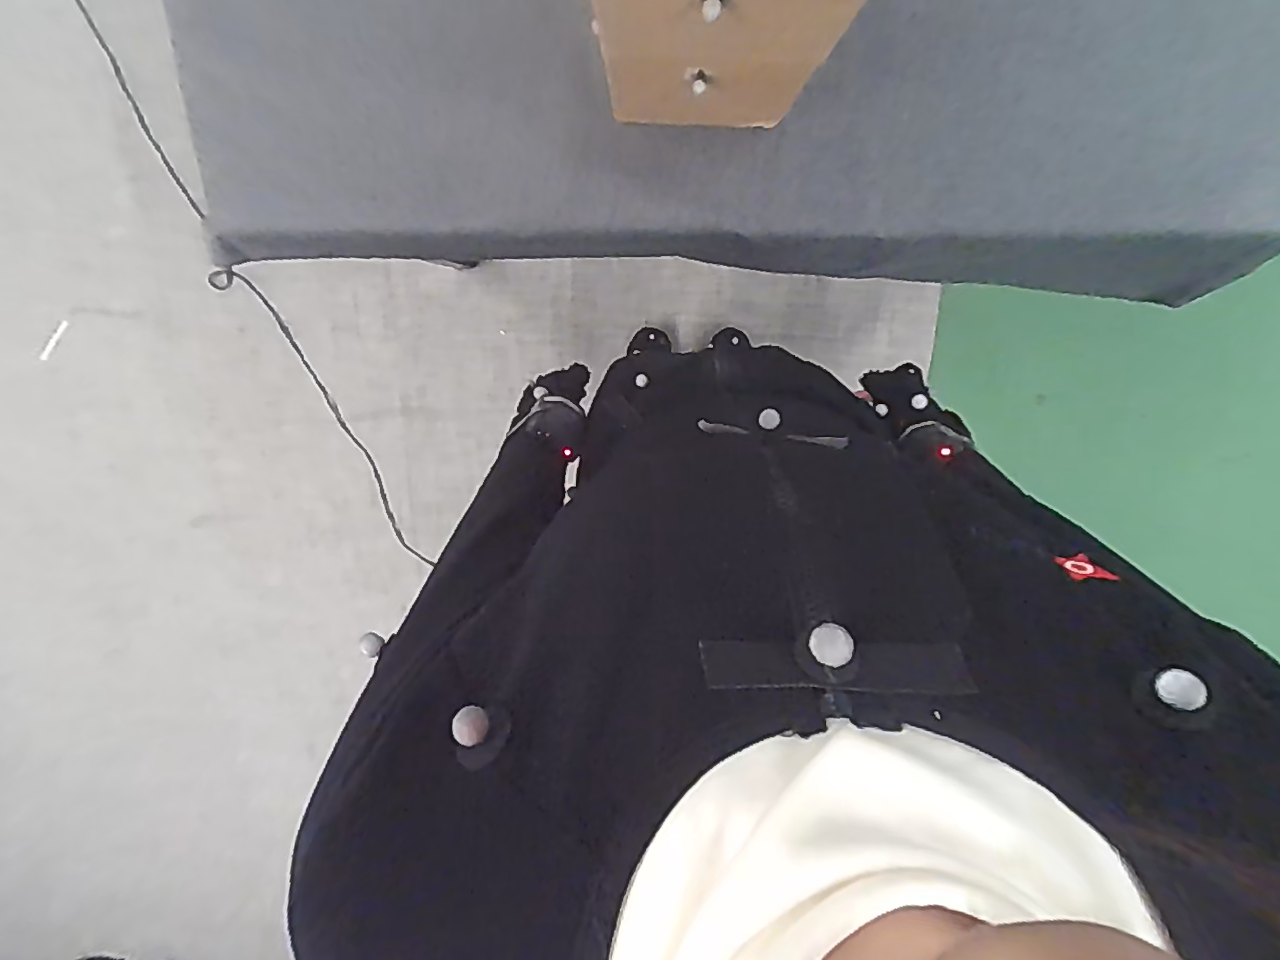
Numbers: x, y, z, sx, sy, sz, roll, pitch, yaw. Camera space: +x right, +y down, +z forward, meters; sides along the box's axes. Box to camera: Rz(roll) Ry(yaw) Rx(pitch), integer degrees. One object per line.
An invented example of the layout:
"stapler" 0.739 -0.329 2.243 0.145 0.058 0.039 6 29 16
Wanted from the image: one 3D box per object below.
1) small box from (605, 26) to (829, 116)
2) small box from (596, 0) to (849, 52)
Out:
"small box" 0.065 -0.440 0.474 0.179 0.176 0.168 2 108 1
"small box" 0.058 -0.386 0.319 0.179 0.176 0.168 3 108 3
